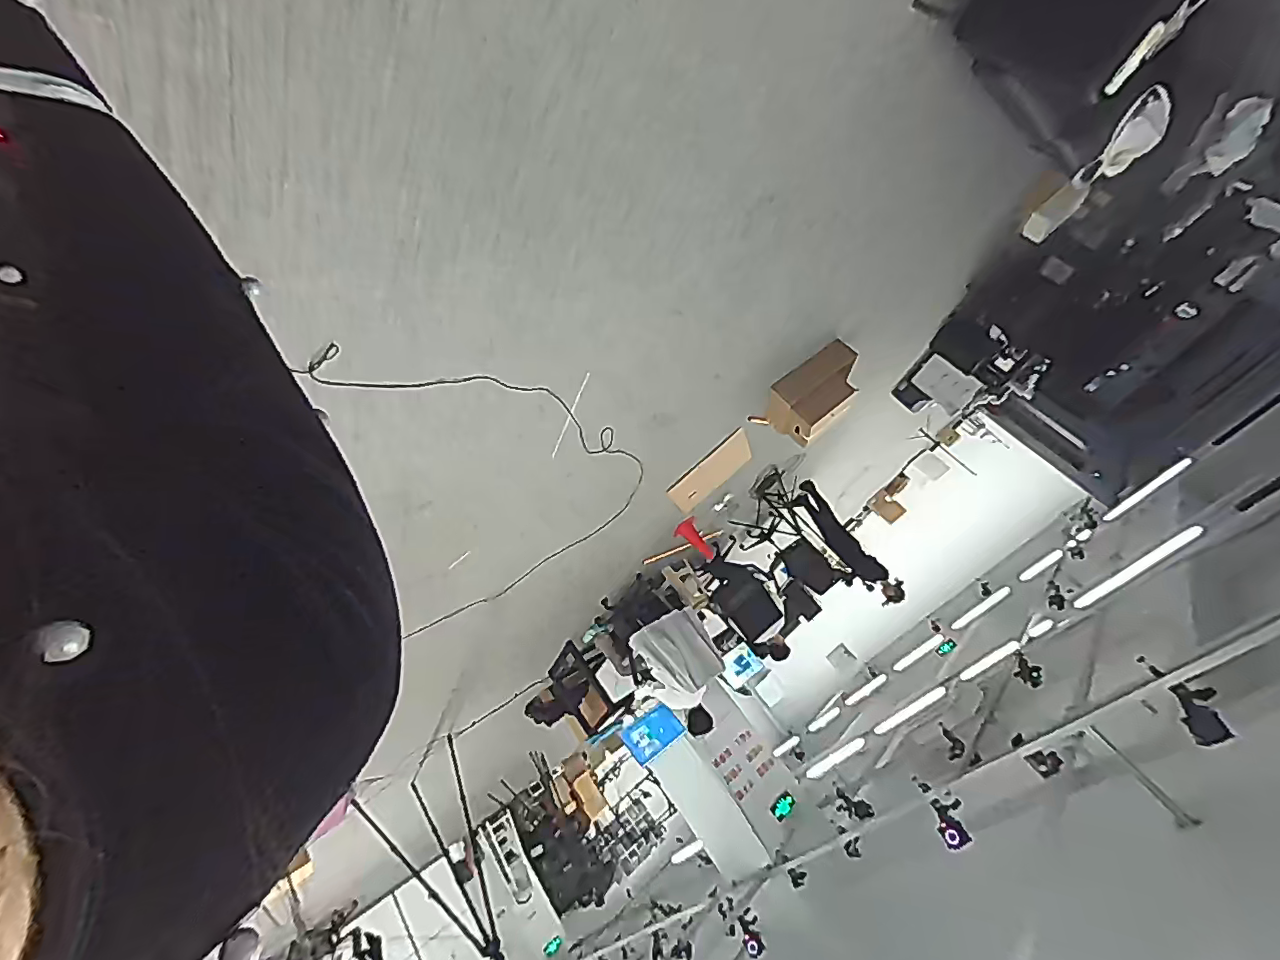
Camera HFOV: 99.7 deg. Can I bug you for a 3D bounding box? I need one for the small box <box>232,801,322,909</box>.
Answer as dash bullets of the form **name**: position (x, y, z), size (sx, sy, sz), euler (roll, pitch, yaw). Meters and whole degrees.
- **small box**: position (-1.032, 1.061, 1.537), size (0.179, 0.176, 0.168), euler (-21, 150, -41)
